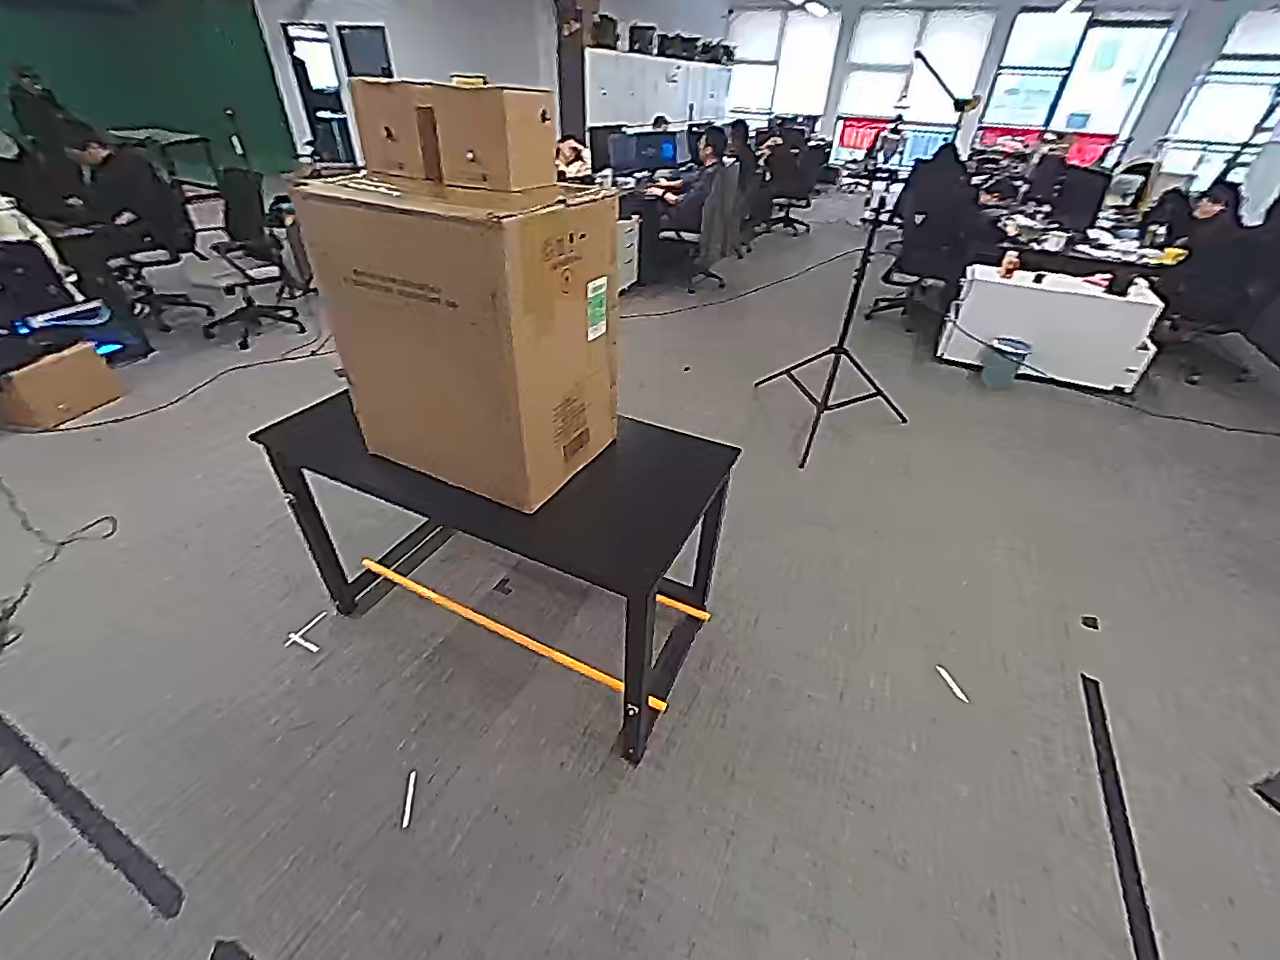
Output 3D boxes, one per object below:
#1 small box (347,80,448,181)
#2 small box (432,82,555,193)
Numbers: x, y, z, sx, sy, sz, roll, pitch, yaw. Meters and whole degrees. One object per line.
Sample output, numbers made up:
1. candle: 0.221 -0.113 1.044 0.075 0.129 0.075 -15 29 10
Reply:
1. small box: -0.486 -0.755 1.169 0.168 0.176 0.179 16 38 16
2. small box: -0.285 -0.687 1.087 0.168 0.176 0.179 16 37 18
